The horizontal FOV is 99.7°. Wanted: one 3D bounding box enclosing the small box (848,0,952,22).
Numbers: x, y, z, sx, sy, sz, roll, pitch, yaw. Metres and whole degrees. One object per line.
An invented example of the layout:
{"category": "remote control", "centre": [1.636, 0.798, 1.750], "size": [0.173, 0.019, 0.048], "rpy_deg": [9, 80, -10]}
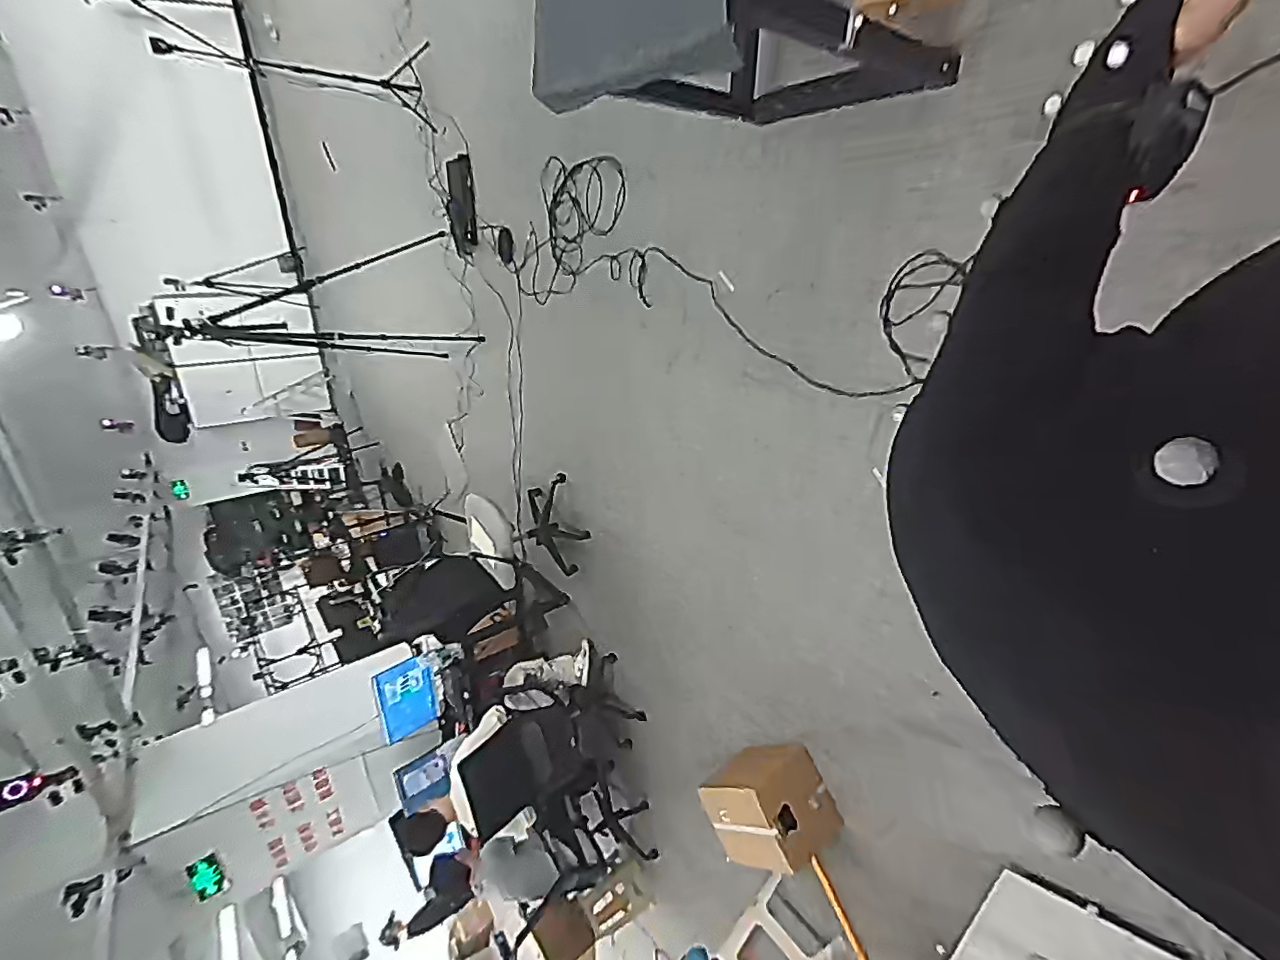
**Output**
{"category": "small box", "centre": [0.586, -1.121, 1.164], "size": [0.179, 0.176, 0.168], "rpy_deg": [32, 129, 43]}
